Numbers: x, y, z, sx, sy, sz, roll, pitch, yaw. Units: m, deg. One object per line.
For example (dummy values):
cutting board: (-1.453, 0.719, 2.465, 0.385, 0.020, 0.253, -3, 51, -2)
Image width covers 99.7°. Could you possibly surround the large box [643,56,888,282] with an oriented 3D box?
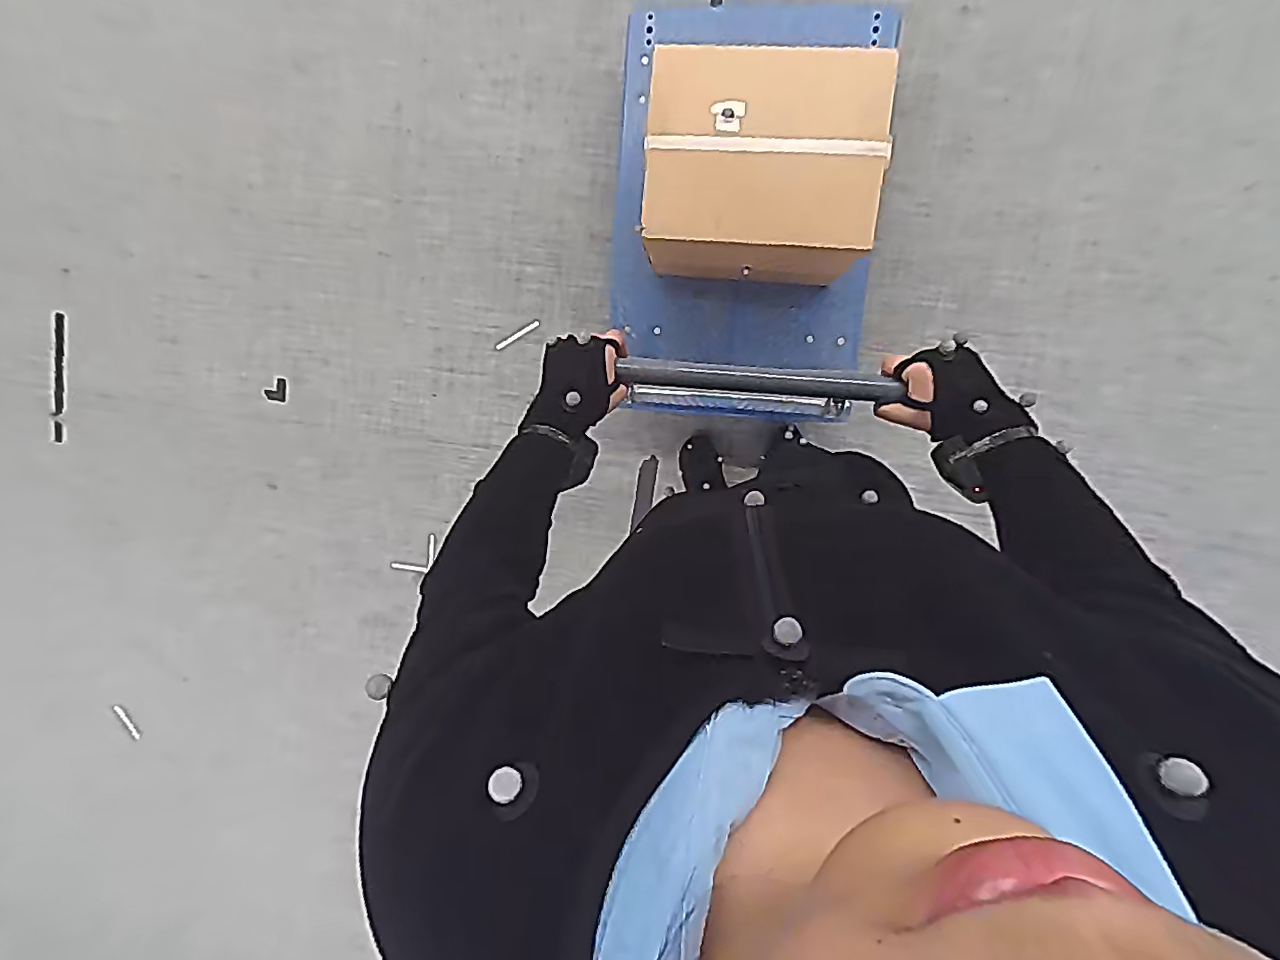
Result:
large box: (0.231, -0.592, 1.091, 0.408, 0.320, 0.320, 5, 98, 7)
